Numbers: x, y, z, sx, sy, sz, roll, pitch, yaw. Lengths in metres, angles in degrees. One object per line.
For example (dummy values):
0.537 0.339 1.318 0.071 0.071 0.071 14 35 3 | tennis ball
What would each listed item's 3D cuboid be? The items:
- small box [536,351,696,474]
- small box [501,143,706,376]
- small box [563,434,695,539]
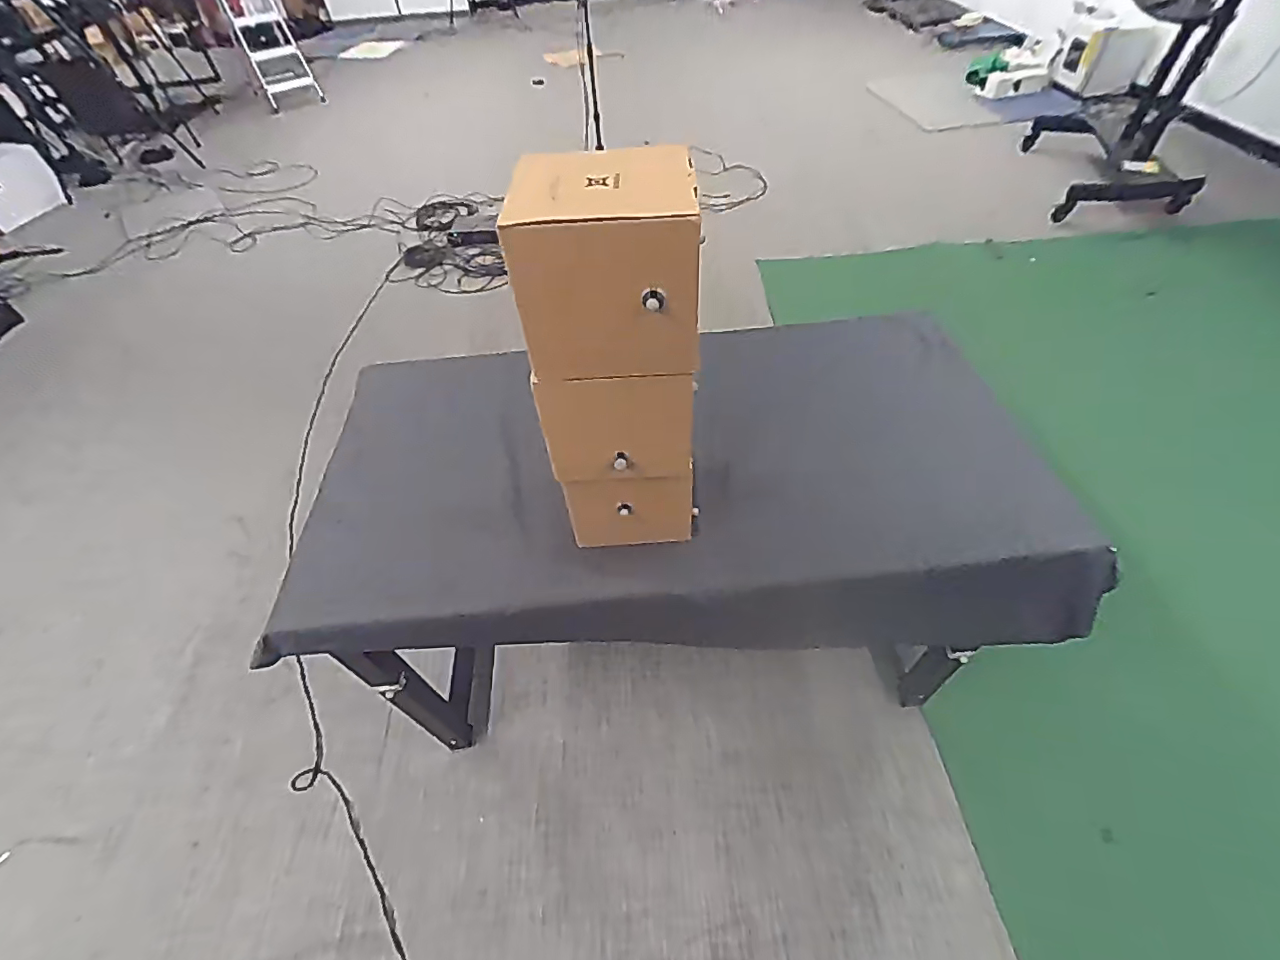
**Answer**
-0.025 -0.122 0.693 0.179 0.176 0.168 -3 50 1 | small box
-0.027 -0.226 0.567 0.179 0.176 0.168 -3 49 3 | small box
-0.013 -0.025 0.823 0.179 0.176 0.168 -4 50 2 | small box
